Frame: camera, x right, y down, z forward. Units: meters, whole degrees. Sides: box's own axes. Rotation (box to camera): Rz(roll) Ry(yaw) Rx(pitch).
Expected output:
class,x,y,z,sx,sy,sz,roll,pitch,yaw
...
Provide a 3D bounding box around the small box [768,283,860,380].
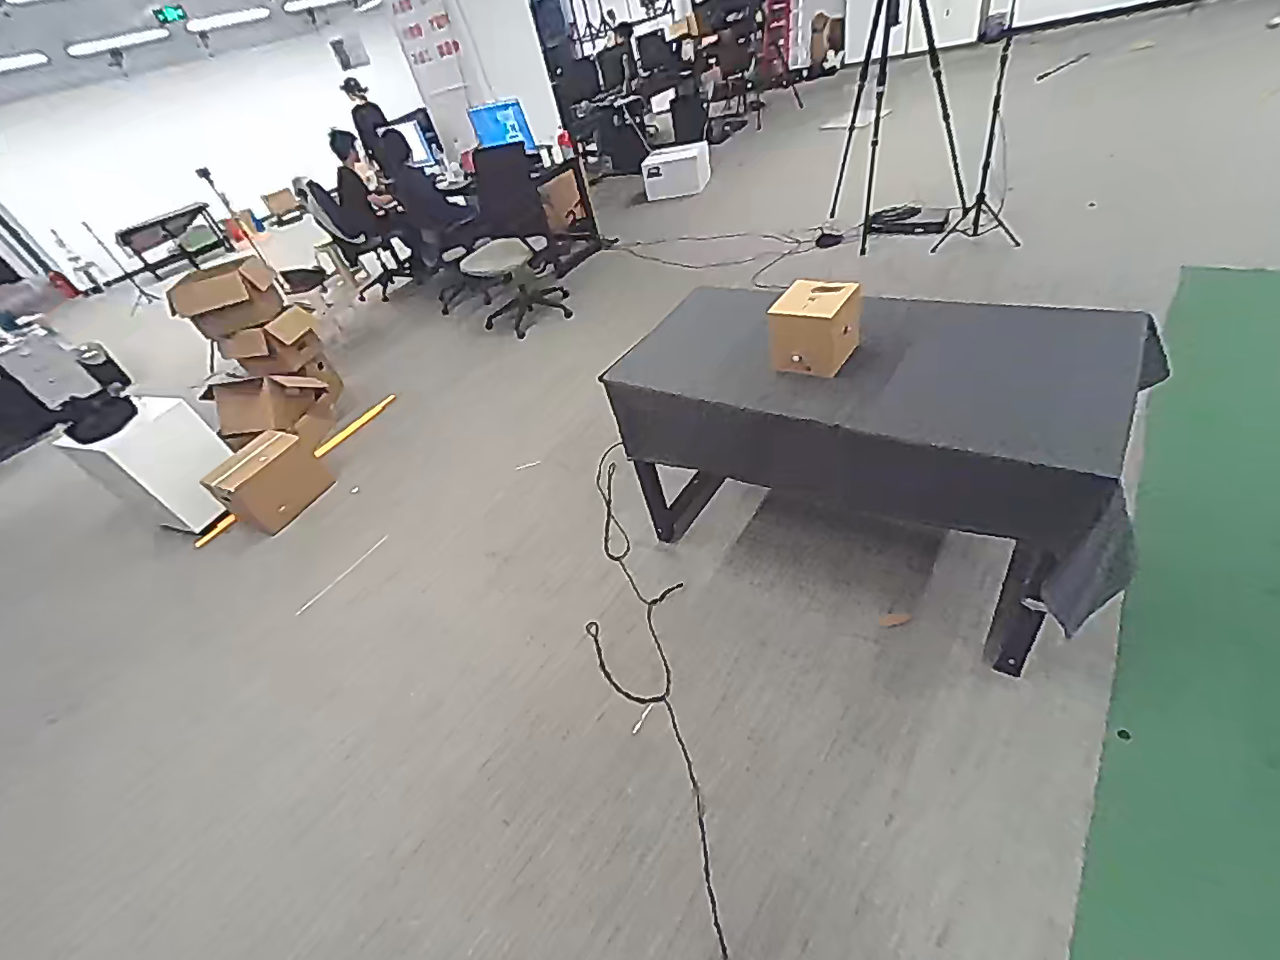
class,x,y,z,sx,sy,sz,roll,pitch,yaw
small box,0.443,-0.380,1.376,0.168,0.176,0.179,18,51,35
